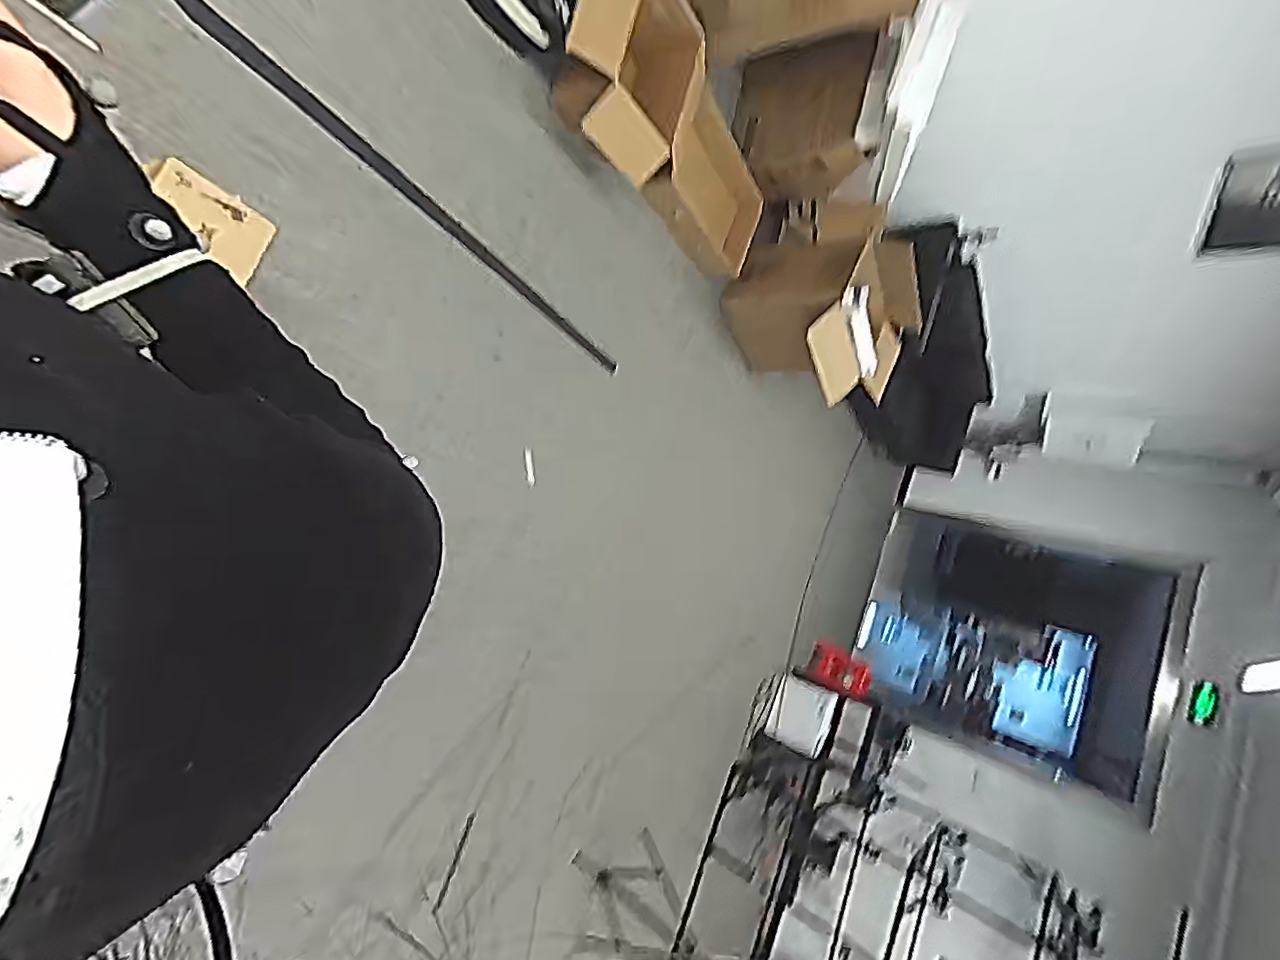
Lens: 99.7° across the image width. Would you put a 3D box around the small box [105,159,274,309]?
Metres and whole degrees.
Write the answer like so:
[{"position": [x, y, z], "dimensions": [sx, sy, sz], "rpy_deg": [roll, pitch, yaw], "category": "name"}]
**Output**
[{"position": [-0.804, -0.426, 0.963], "dimensions": [0.168, 0.176, 0.179], "rpy_deg": [34, 75, -50], "category": "small box"}]
